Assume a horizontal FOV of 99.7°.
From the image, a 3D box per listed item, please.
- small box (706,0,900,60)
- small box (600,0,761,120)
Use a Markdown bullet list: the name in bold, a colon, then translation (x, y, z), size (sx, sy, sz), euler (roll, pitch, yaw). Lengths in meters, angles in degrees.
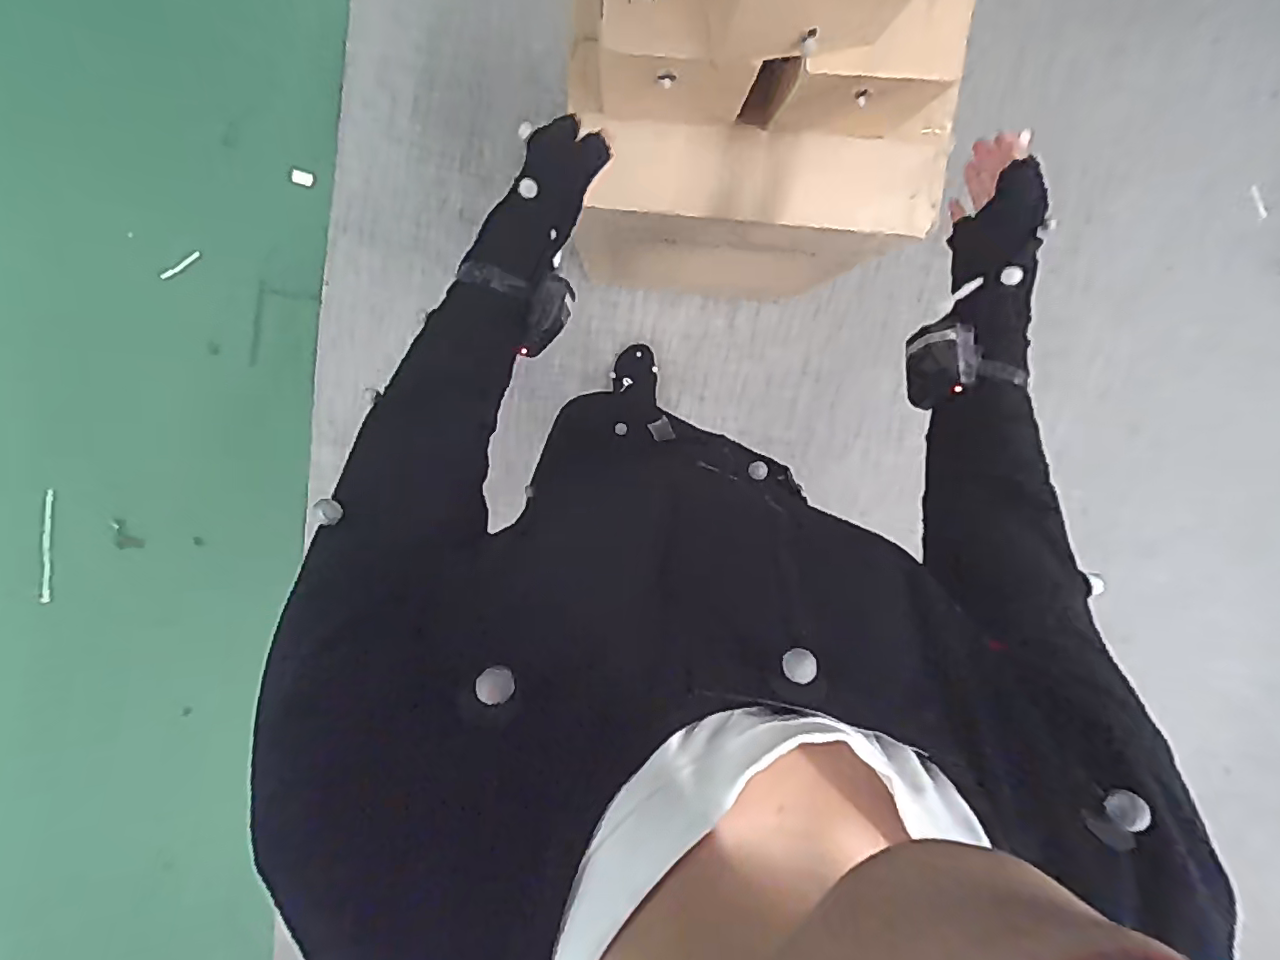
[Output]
- **small box**: translation (0.156, -0.513, 0.477), size (0.179, 0.176, 0.168), euler (-9, 104, -1)
- **small box**: translation (0.047, -0.549, 0.633), size (0.179, 0.176, 0.168), euler (3, 104, -3)
